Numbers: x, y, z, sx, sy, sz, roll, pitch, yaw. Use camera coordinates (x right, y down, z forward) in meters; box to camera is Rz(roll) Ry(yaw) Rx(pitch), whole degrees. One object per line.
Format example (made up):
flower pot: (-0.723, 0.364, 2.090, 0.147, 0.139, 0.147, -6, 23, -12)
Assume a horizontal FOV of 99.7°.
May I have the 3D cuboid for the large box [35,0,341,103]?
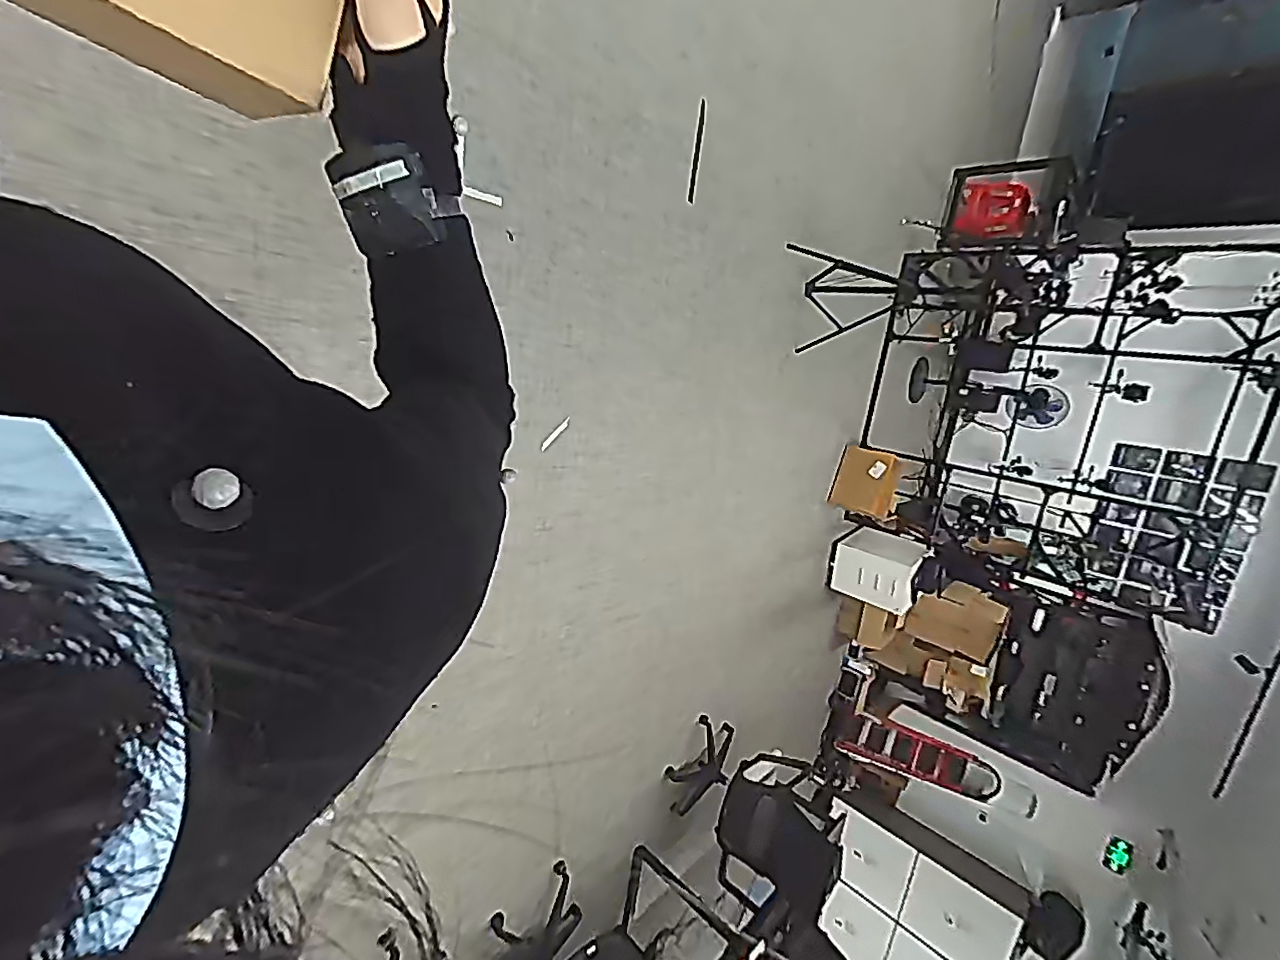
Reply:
large box: (-0.381, -0.466, 0.277, 0.408, 0.320, 0.320, 9, 109, -44)
